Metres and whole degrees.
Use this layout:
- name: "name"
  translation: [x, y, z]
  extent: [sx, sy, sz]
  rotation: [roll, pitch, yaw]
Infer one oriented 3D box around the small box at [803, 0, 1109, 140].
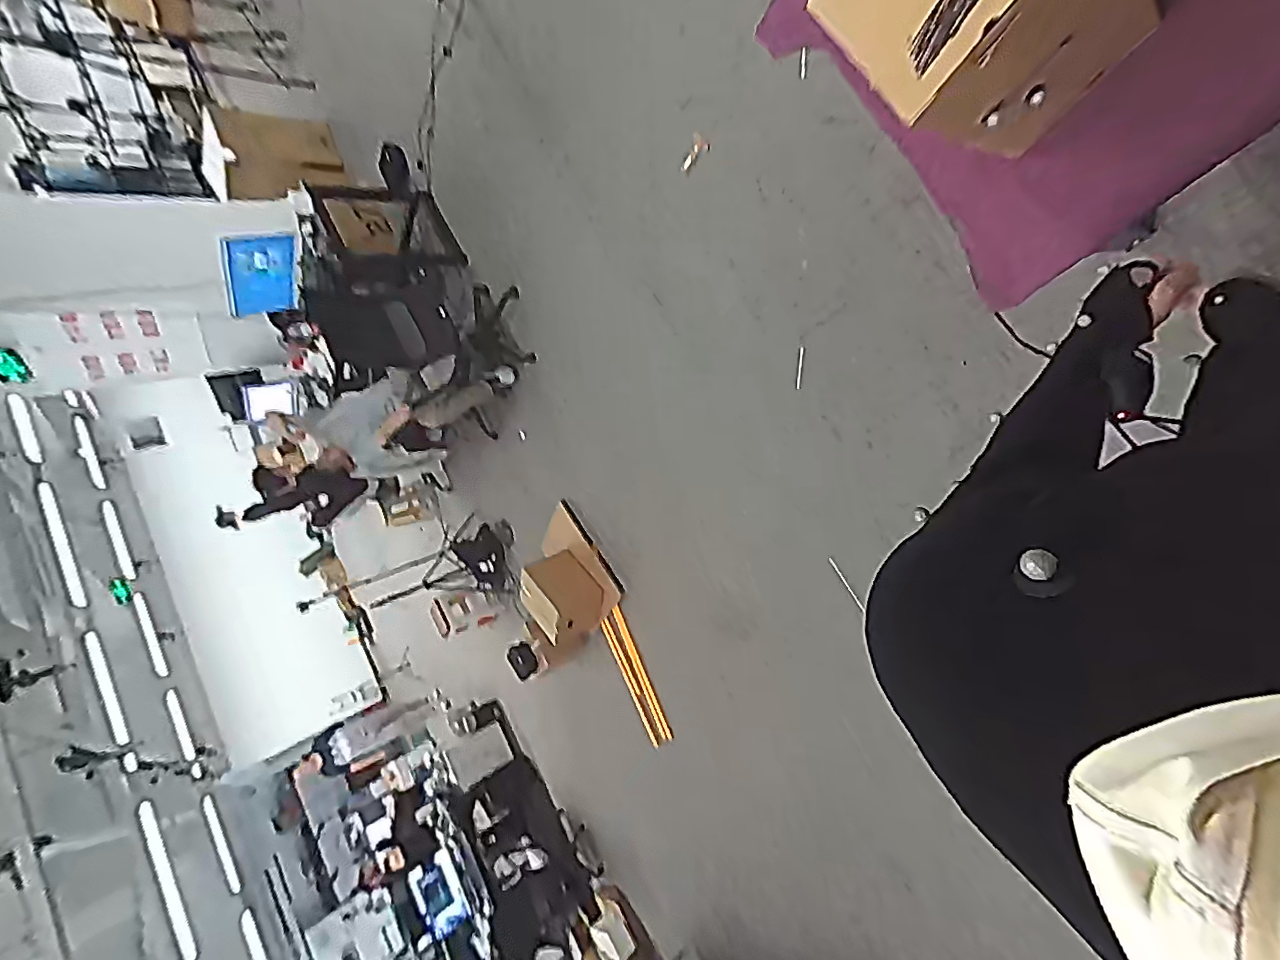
- name: "small box"
  translation: [0.302, -0.458, 0.514]
  extent: [0.179, 0.176, 0.168]
  rotation: [60, 140, 13]
